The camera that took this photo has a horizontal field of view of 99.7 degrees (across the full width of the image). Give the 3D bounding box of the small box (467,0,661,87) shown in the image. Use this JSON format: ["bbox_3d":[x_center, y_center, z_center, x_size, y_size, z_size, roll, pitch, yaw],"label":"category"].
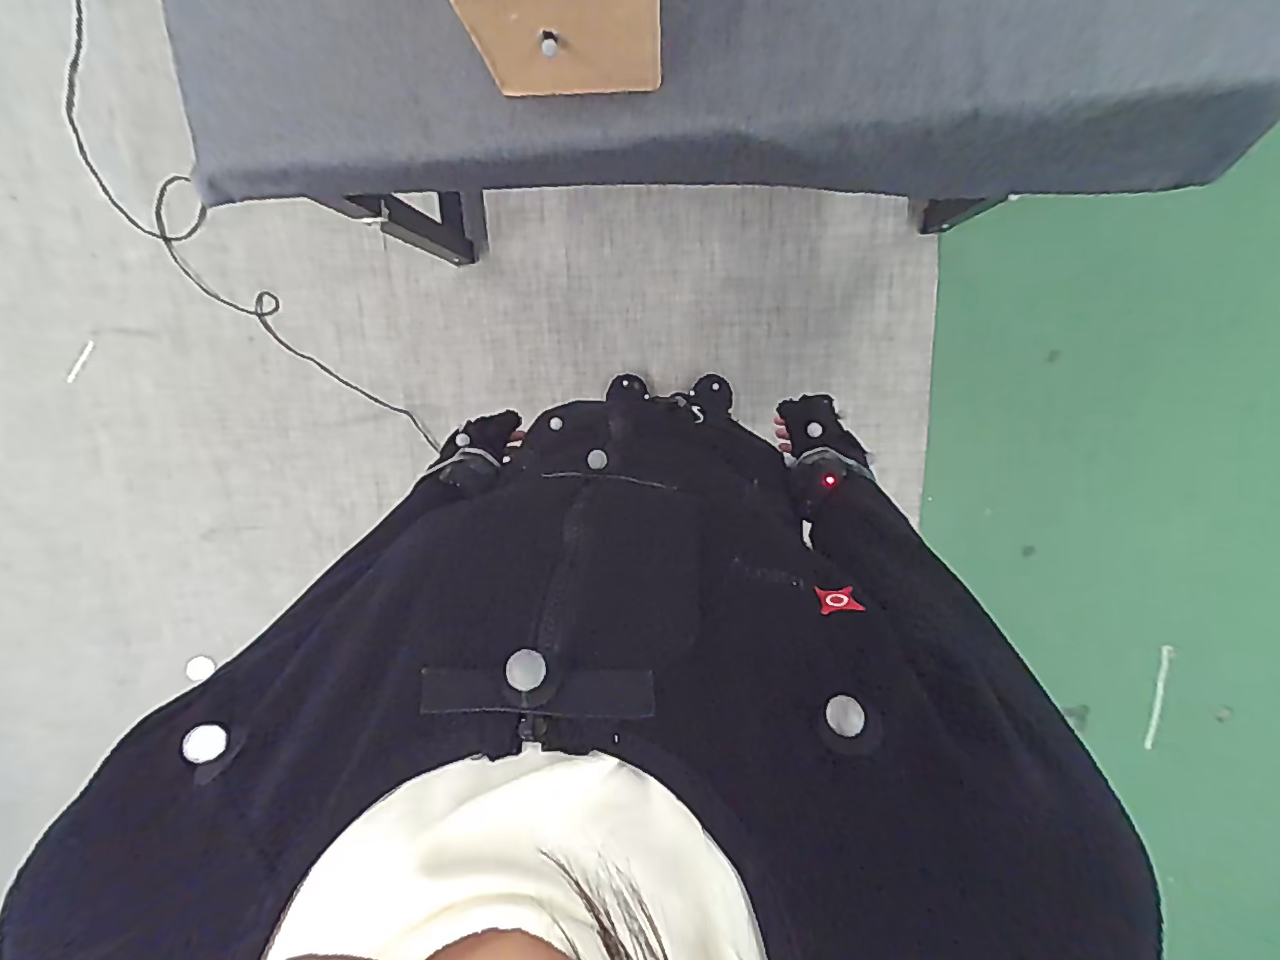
[{"bbox_3d":[-0.070,-0.504,0.510,0.179,0.176,0.168,0,101,3],"label":"small box"}]
